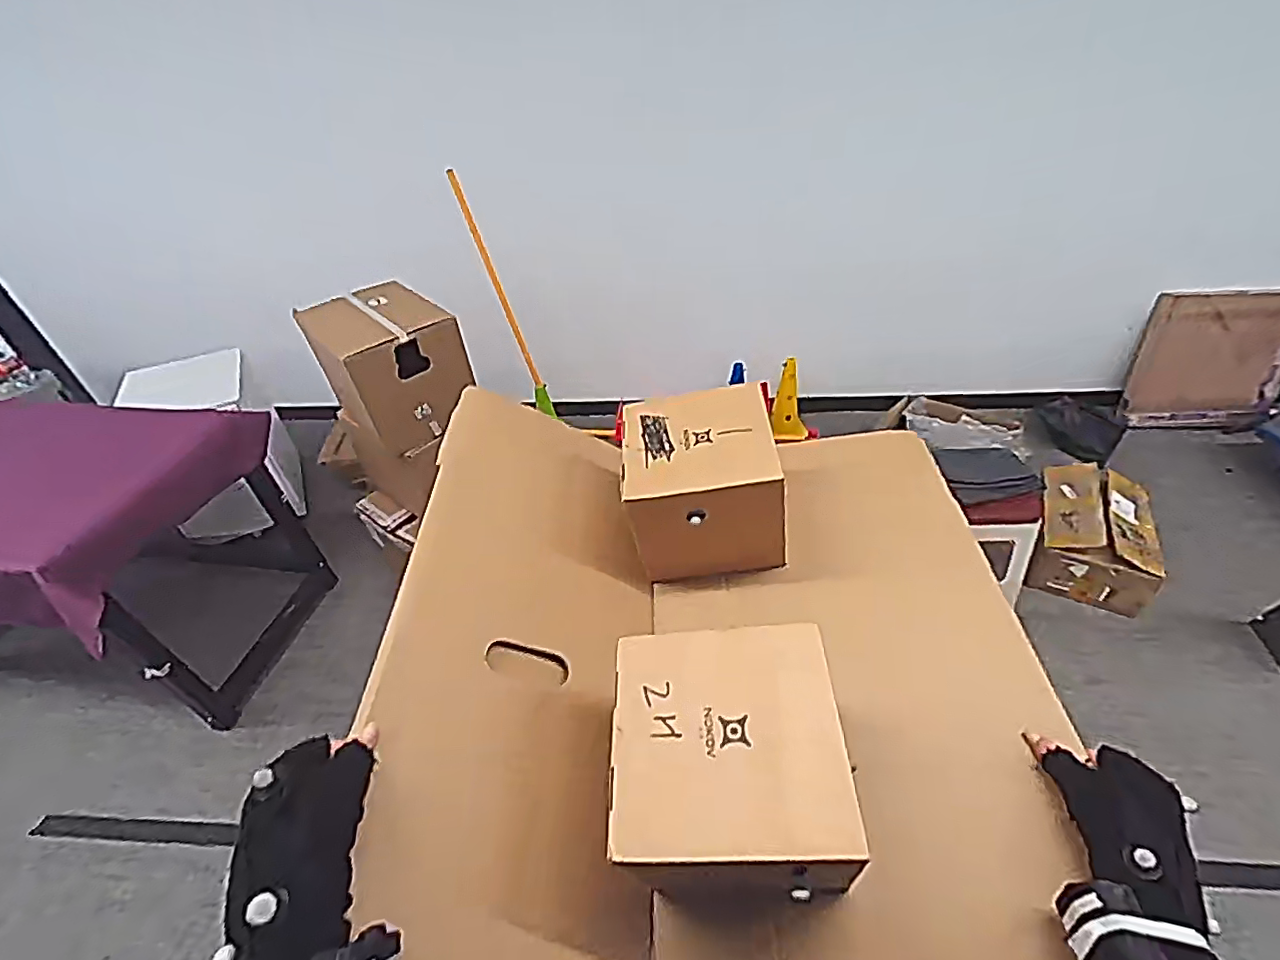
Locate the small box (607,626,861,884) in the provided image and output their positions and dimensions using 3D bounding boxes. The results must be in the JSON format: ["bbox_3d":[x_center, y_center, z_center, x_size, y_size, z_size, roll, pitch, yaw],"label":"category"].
[{"bbox_3d":[0.080,0.247,0.480,0.179,0.176,0.168,-7,47,10],"label":"small box"}]

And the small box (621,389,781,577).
[{"bbox_3d":[0.080,0.010,0.695,0.179,0.176,0.168,-8,47,8],"label":"small box"}]
